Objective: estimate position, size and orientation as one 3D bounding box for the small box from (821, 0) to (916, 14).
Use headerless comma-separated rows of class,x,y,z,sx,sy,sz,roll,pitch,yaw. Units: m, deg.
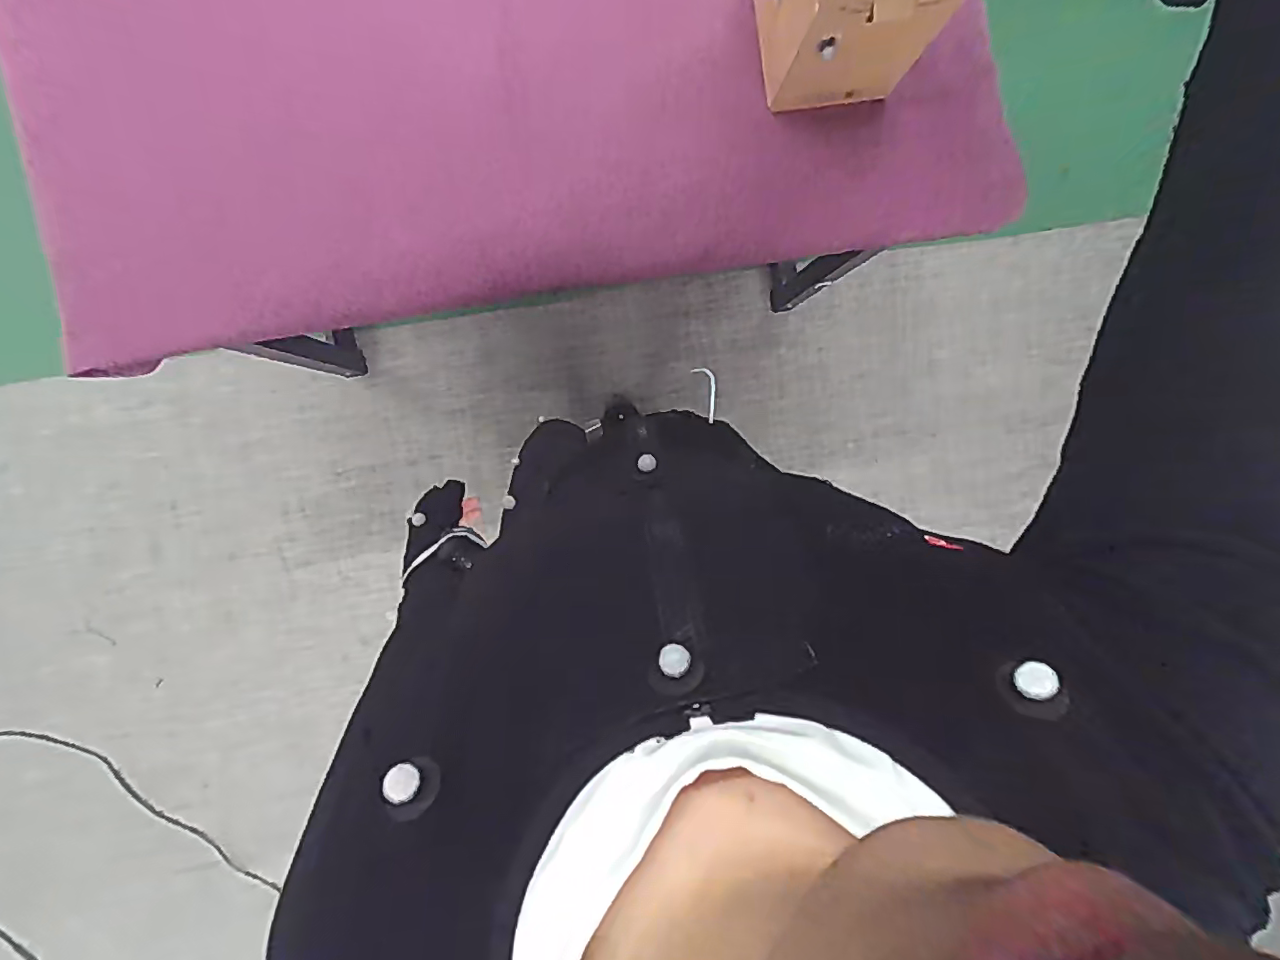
small box,0.246,-0.568,0.469,0.168,0.176,0.179,-13,95,-3
